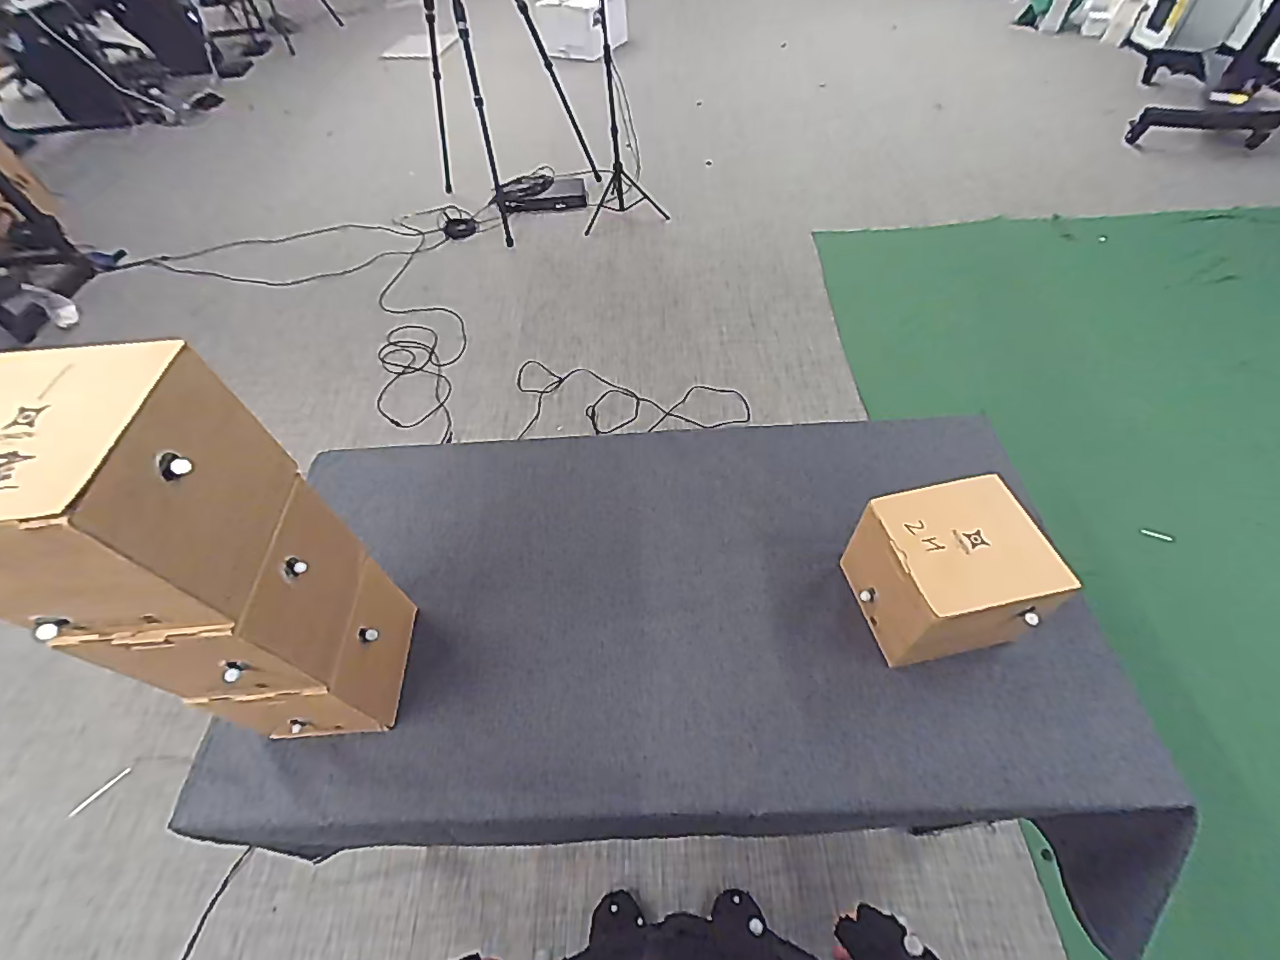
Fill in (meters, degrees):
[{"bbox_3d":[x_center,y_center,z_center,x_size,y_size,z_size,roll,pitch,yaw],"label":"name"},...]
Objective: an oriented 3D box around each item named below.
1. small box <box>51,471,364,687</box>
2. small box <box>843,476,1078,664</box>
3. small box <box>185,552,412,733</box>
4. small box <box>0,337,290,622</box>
[{"bbox_3d":[-0.425,0.112,0.575,0.168,0.176,0.179,-3,53,1],"label":"small box"},{"bbox_3d":[0.393,0.120,0.703,0.179,0.176,0.168,-11,53,-3],"label":"small box"},{"bbox_3d":[-0.417,0.213,0.703,0.168,0.176,0.179,-4,53,1],"label":"small box"},{"bbox_3d":[-0.434,0.008,0.449,0.168,0.176,0.179,-4,53,-1],"label":"small box"}]
